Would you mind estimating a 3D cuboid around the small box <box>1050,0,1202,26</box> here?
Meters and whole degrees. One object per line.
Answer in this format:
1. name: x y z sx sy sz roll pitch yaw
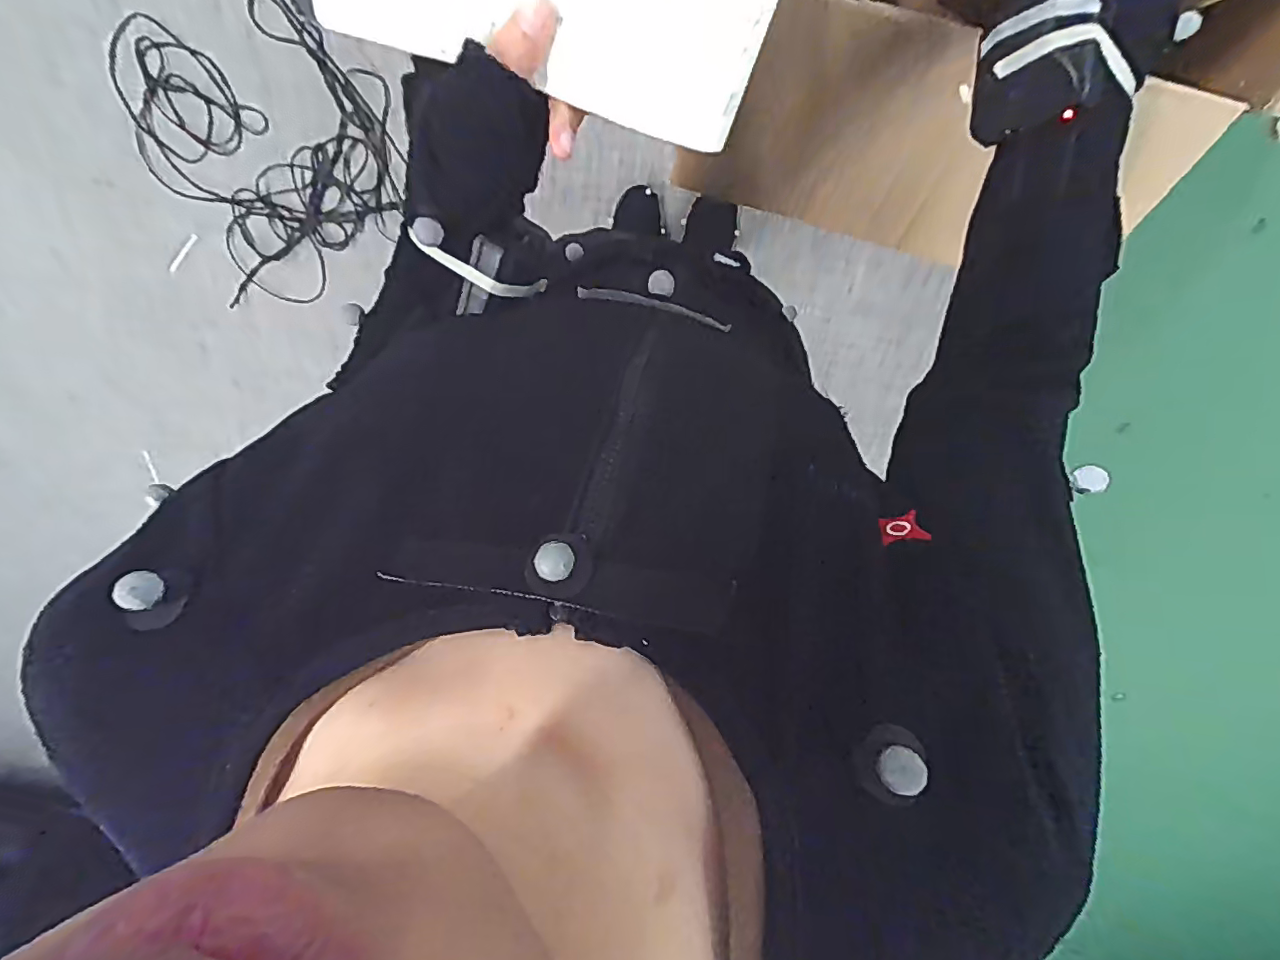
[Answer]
1. small box: 0.370 -0.444 0.341 0.168 0.176 0.179 40 119 -17
